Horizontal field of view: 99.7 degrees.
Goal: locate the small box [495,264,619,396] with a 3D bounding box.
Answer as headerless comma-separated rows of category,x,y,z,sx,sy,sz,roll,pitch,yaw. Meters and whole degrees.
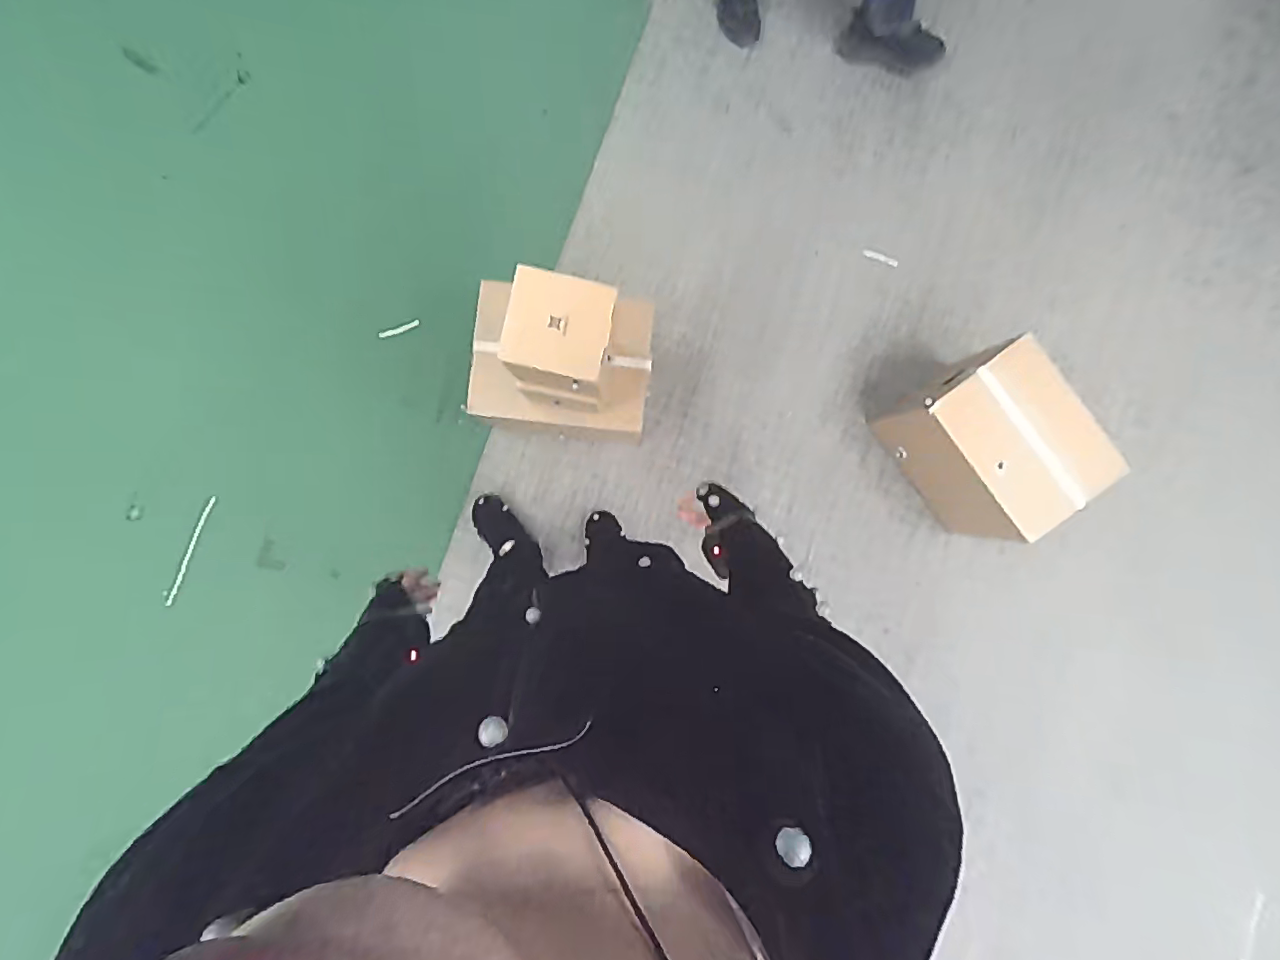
small box,-0.140,-0.256,0.965,0.179,0.176,0.168,12,88,-3

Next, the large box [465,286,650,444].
large box,-0.187,-0.269,1.373,0.408,0.320,0.320,6,87,-1

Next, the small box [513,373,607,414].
small box,-0.153,-0.245,1.127,0.168,0.176,0.179,11,88,-3
